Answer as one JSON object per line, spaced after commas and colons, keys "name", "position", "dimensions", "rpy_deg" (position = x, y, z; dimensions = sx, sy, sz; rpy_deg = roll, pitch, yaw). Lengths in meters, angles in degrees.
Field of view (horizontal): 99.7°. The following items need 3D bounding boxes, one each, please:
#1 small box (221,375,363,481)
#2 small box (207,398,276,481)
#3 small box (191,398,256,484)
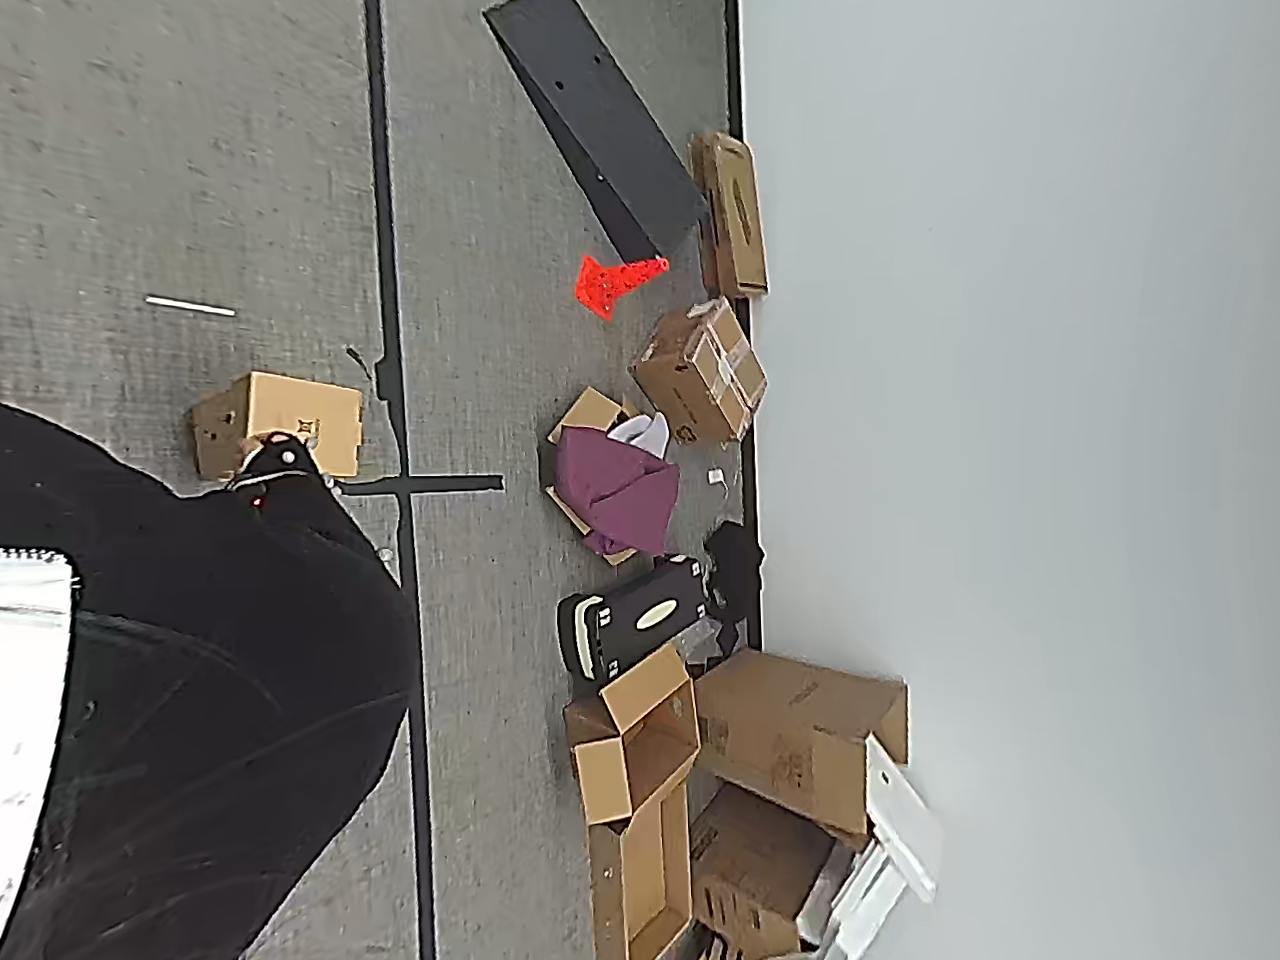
{"name": "small box", "position": [-0.638, -0.085, 0.993], "dimensions": [0.179, 0.176, 0.168], "rpy_deg": [6, 84, -48]}
{"name": "small box", "position": [-0.756, -0.083, 1.105], "dimensions": [0.179, 0.176, 0.168], "rpy_deg": [-2, 91, -49]}
{"name": "small box", "position": [-0.881, -0.086, 1.212], "dimensions": [0.168, 0.176, 0.179], "rpy_deg": [-8, 96, -48]}
